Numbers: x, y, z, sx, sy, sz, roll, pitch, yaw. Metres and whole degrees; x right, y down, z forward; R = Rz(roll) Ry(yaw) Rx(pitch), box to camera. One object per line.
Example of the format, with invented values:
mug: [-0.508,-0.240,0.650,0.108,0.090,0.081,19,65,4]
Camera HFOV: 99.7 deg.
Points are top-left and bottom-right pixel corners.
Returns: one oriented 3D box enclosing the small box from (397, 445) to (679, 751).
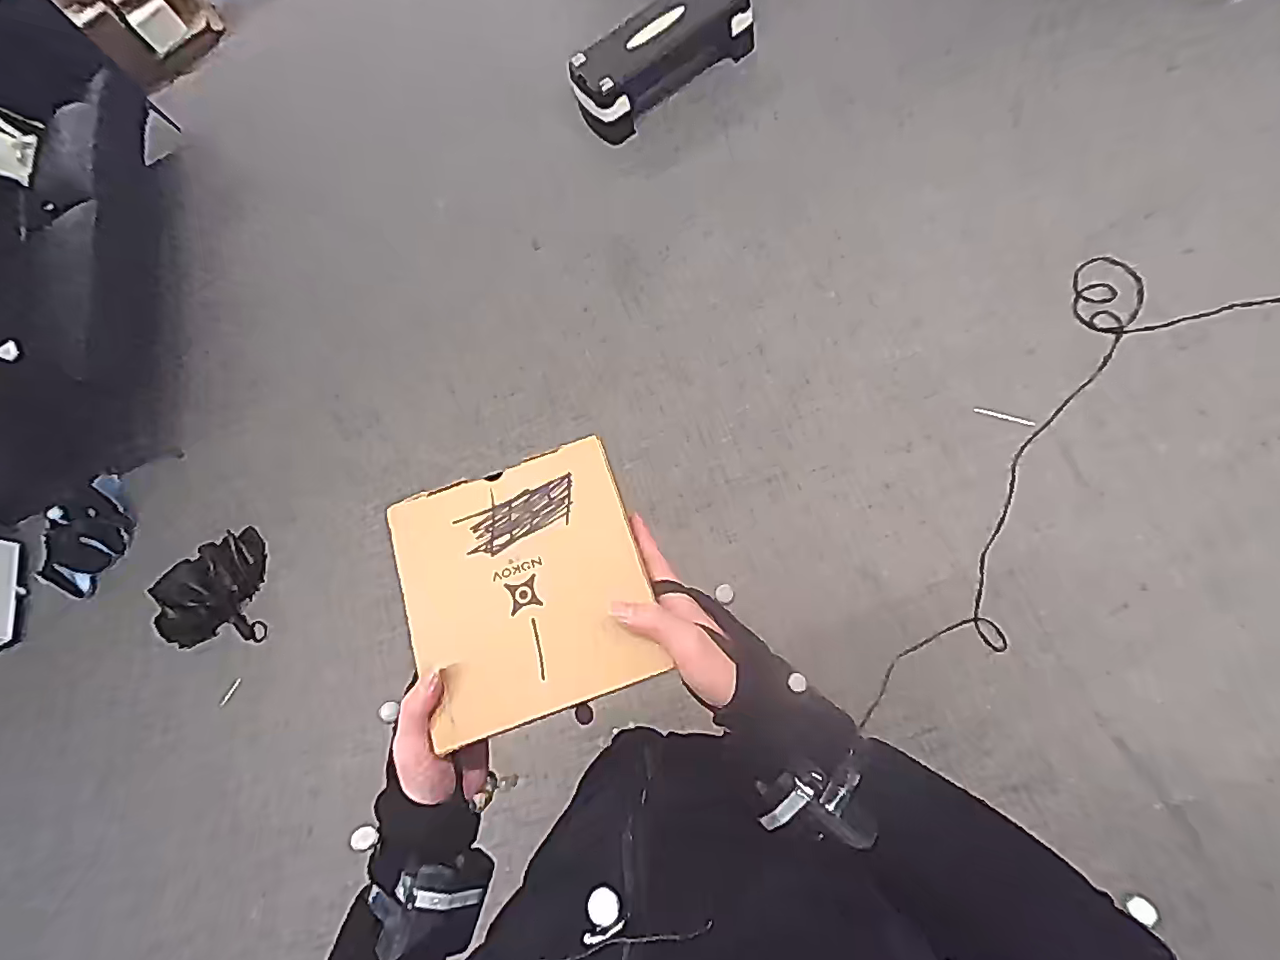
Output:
small box: [-0.073,0.100,0.451,0.168,0.176,0.179,-19,71,-2]
